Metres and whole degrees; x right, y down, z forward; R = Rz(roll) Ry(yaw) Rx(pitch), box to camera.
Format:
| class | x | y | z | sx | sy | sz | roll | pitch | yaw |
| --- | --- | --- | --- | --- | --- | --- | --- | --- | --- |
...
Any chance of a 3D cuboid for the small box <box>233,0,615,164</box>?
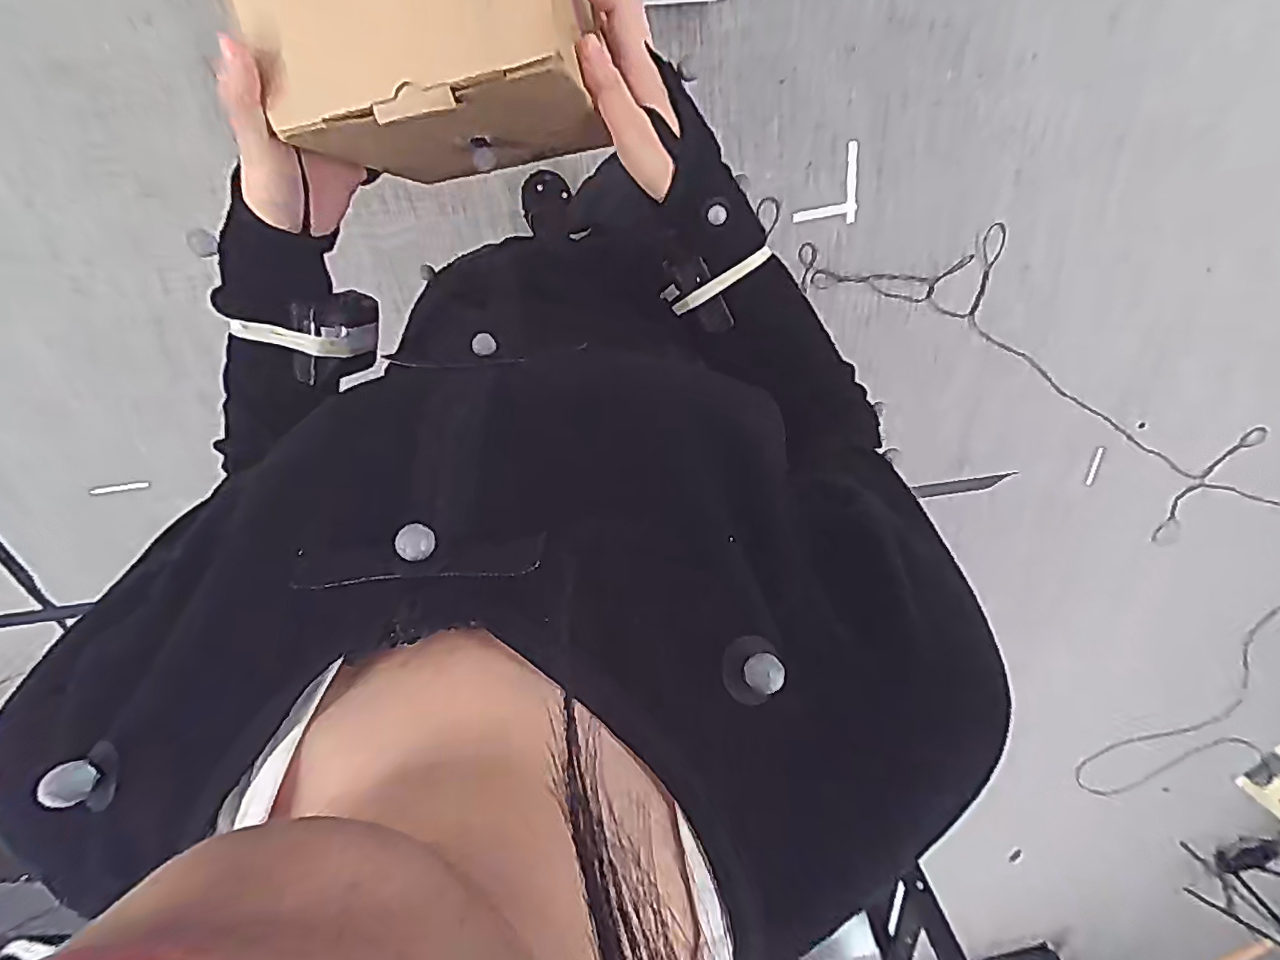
| class | x | y | z | sx | sy | sz | roll | pitch | yaw |
| --- | --- | --- | --- | --- | --- | --- | --- | --- | --- |
| small box | -0.118 | -0.305 | 0.322 | 0.168 | 0.176 | 0.179 | -6 | 110 | 10 |
